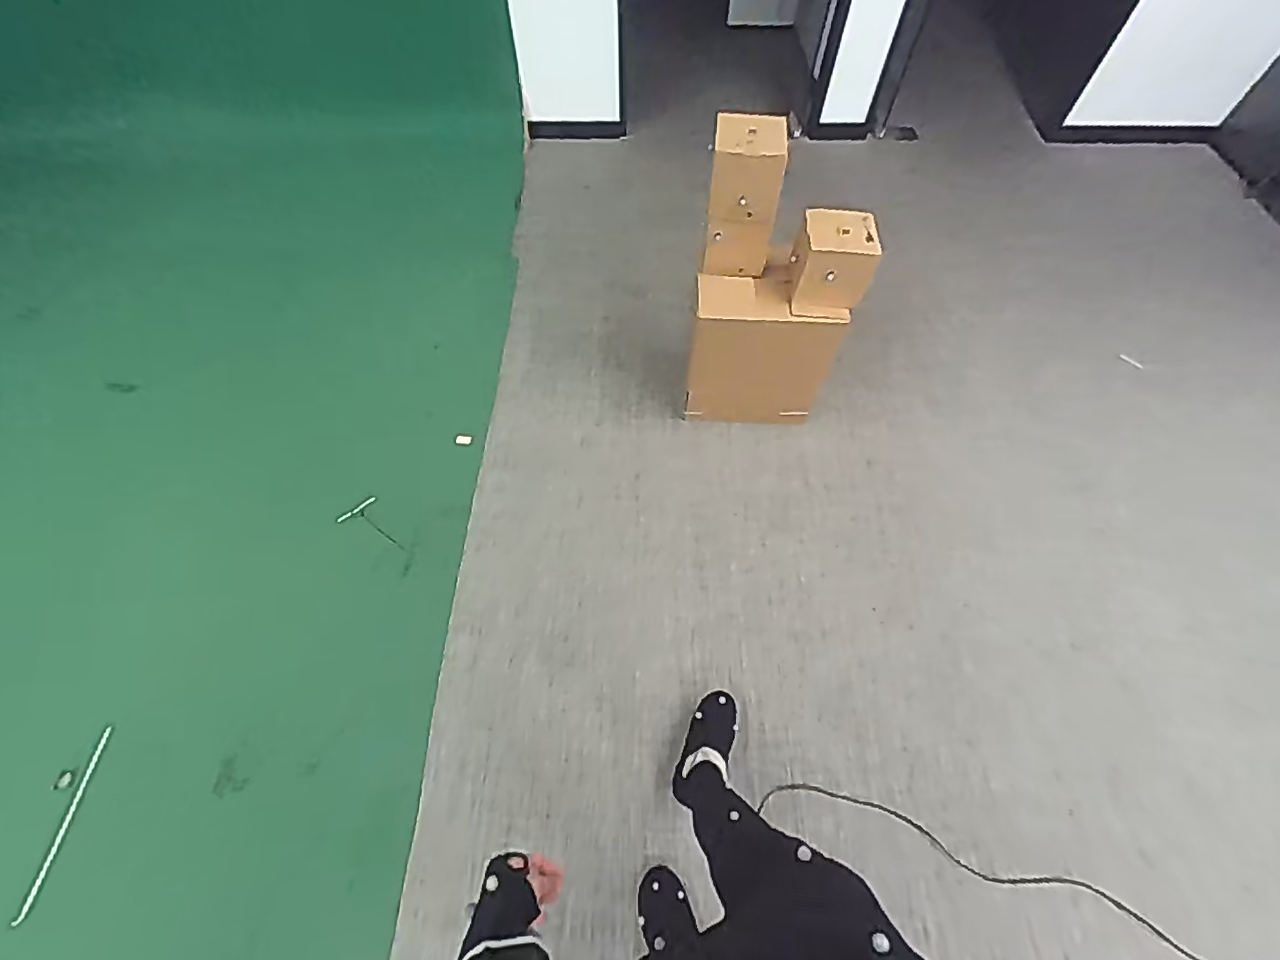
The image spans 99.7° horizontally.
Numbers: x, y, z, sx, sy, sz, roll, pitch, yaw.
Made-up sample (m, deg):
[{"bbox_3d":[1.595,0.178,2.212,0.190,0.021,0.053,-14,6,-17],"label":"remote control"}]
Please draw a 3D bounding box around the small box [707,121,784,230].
[{"bbox_3d":[0.257,-0.751,1.337,0.168,0.176,0.179,5,59,5],"label":"small box"}]

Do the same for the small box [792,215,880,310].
[{"bbox_3d":[0.499,-0.564,1.411,0.179,0.176,0.168,3,62,3],"label":"small box"}]
